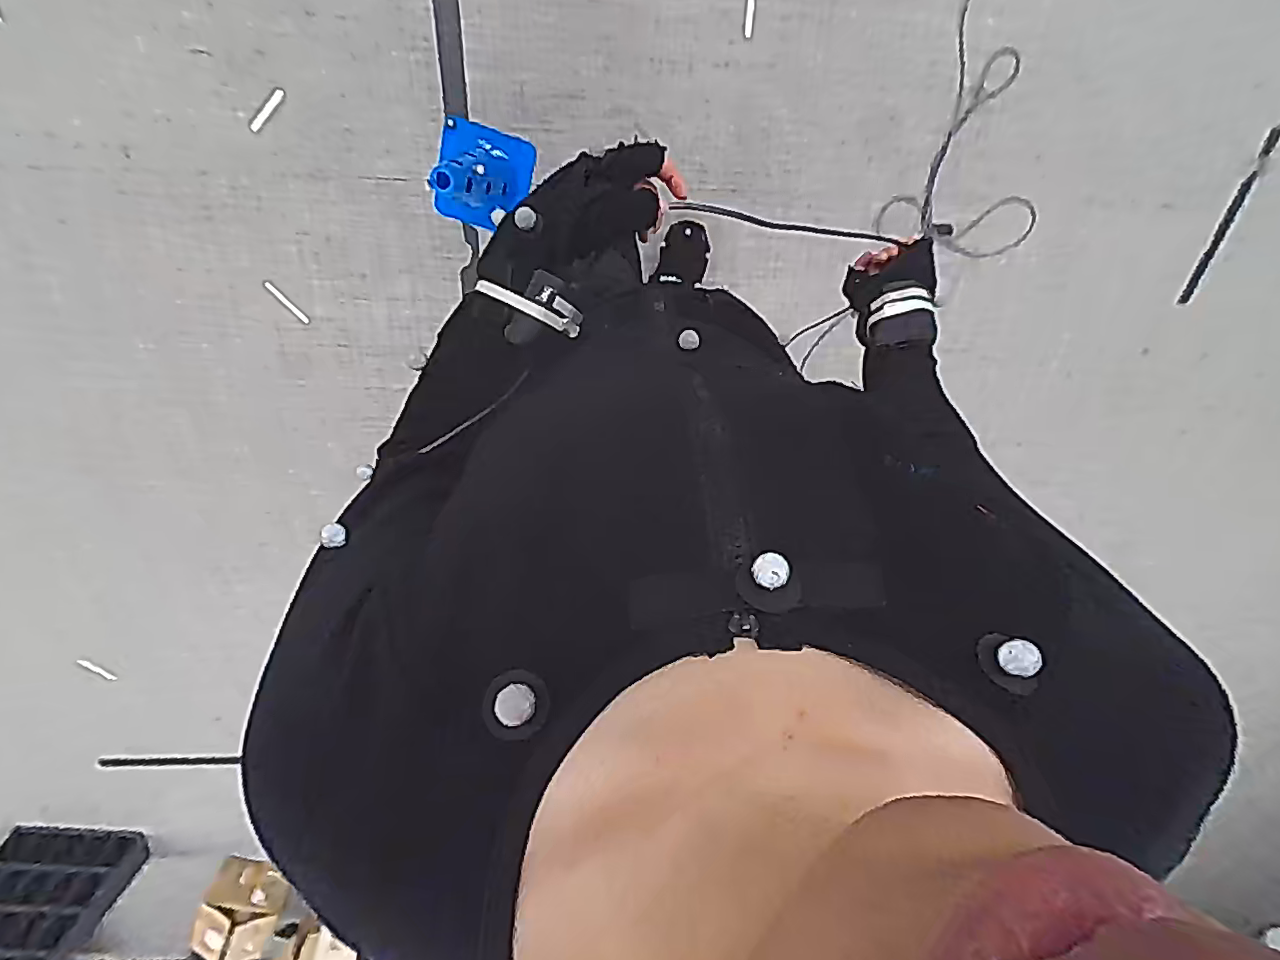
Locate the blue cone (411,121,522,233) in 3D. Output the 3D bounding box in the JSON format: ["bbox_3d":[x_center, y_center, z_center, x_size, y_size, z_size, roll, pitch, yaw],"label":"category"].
[{"bbox_3d":[-0.358,-0.586,1.056,0.192,0.380,0.193,16,117,-11],"label":"blue cone"}]
